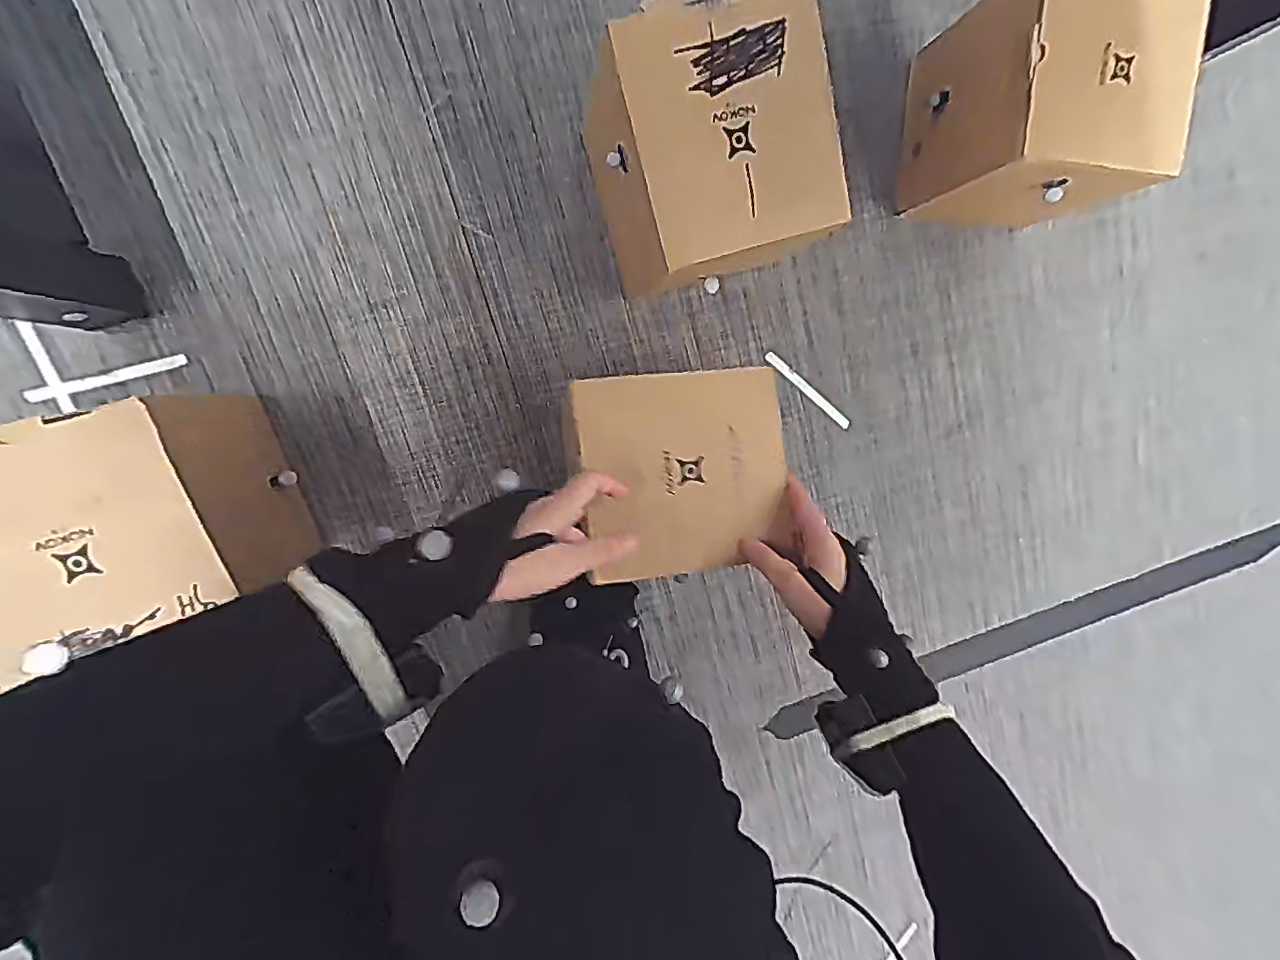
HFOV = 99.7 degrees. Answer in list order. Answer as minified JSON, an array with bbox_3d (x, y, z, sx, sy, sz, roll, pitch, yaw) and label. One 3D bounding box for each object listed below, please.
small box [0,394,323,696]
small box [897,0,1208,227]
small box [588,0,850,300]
[{"bbox_3d":[-0.402,0.036,0.449,0.168,0.176,0.179,-17,101,-9],"label":"small box"},{"bbox_3d":[0.399,-0.370,0.551,0.179,0.176,0.168,0,99,-11],"label":"small box"},{"bbox_3d":[0.058,-0.281,0.493,0.168,0.176,0.179,-18,103,-8],"label":"small box"}]
